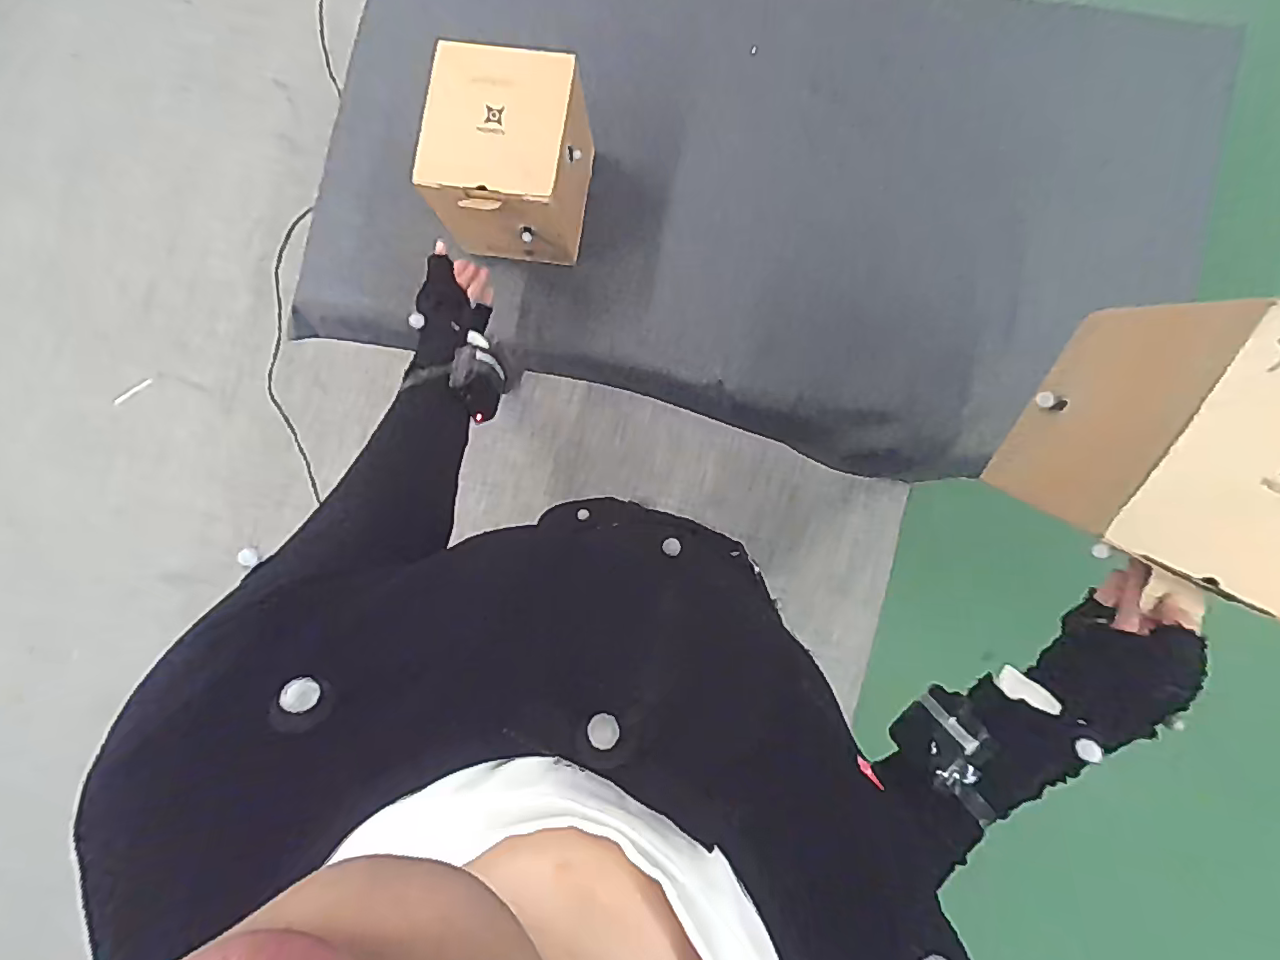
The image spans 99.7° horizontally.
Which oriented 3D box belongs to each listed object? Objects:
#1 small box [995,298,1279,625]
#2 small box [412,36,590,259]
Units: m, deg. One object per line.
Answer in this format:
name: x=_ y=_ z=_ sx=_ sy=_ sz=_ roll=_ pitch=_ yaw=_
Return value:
small box: x=0.430 y=-0.025 z=0.432 sx=0.168 sy=0.176 sz=0.179 roll=25 pitch=106 yaw=-2
small box: x=-0.163 y=-0.408 z=0.692 sx=0.168 sy=0.176 sz=0.179 roll=8 pitch=86 yaw=2
